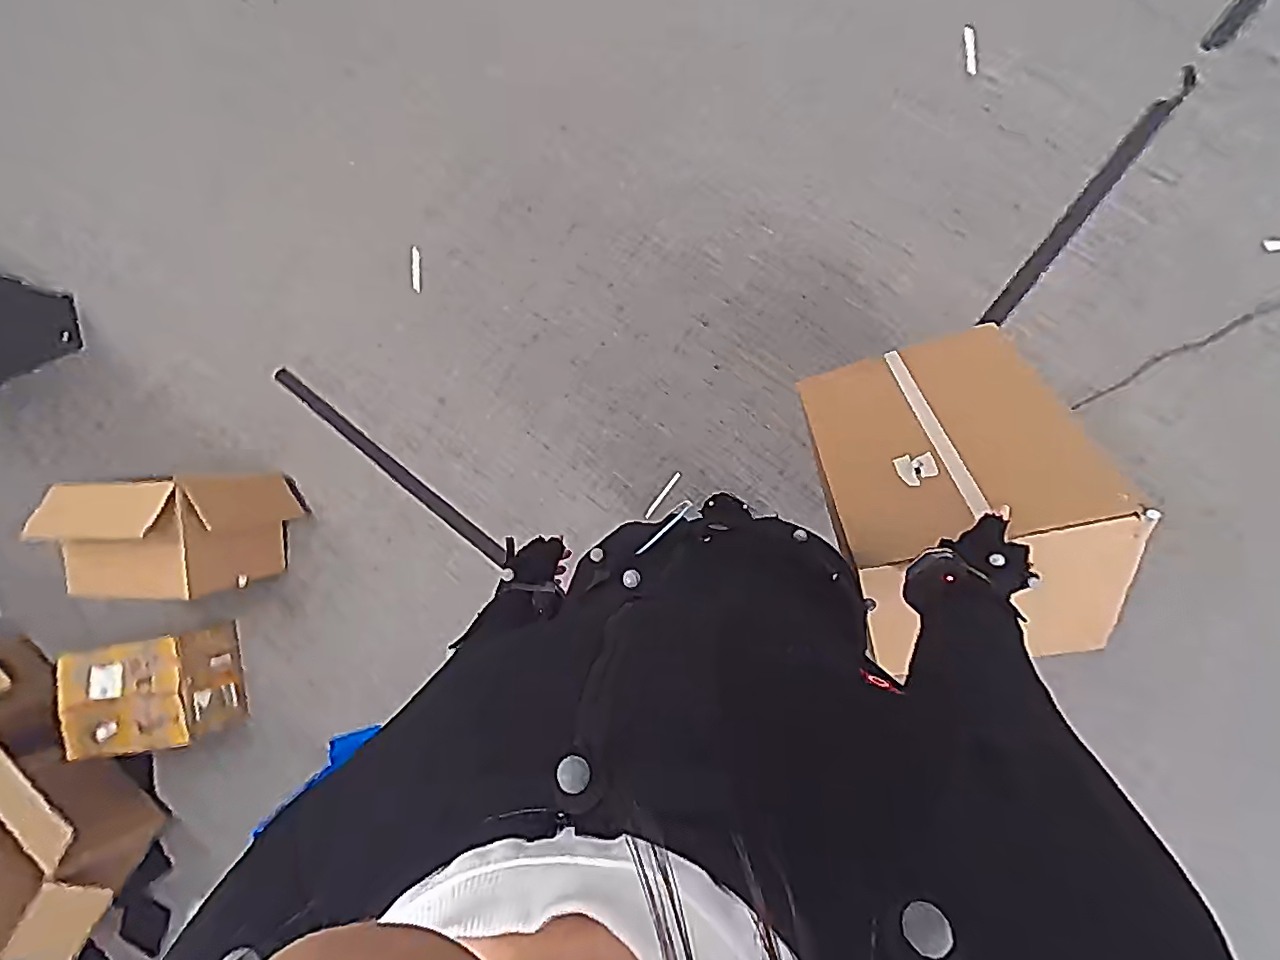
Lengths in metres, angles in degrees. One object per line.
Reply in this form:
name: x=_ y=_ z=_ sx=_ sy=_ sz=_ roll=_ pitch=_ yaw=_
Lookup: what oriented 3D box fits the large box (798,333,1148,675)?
large box: x=0.466 y=0.040 z=0.859 sx=0.320 sy=0.320 sz=0.408 roll=-15 pitch=43 yaw=18
